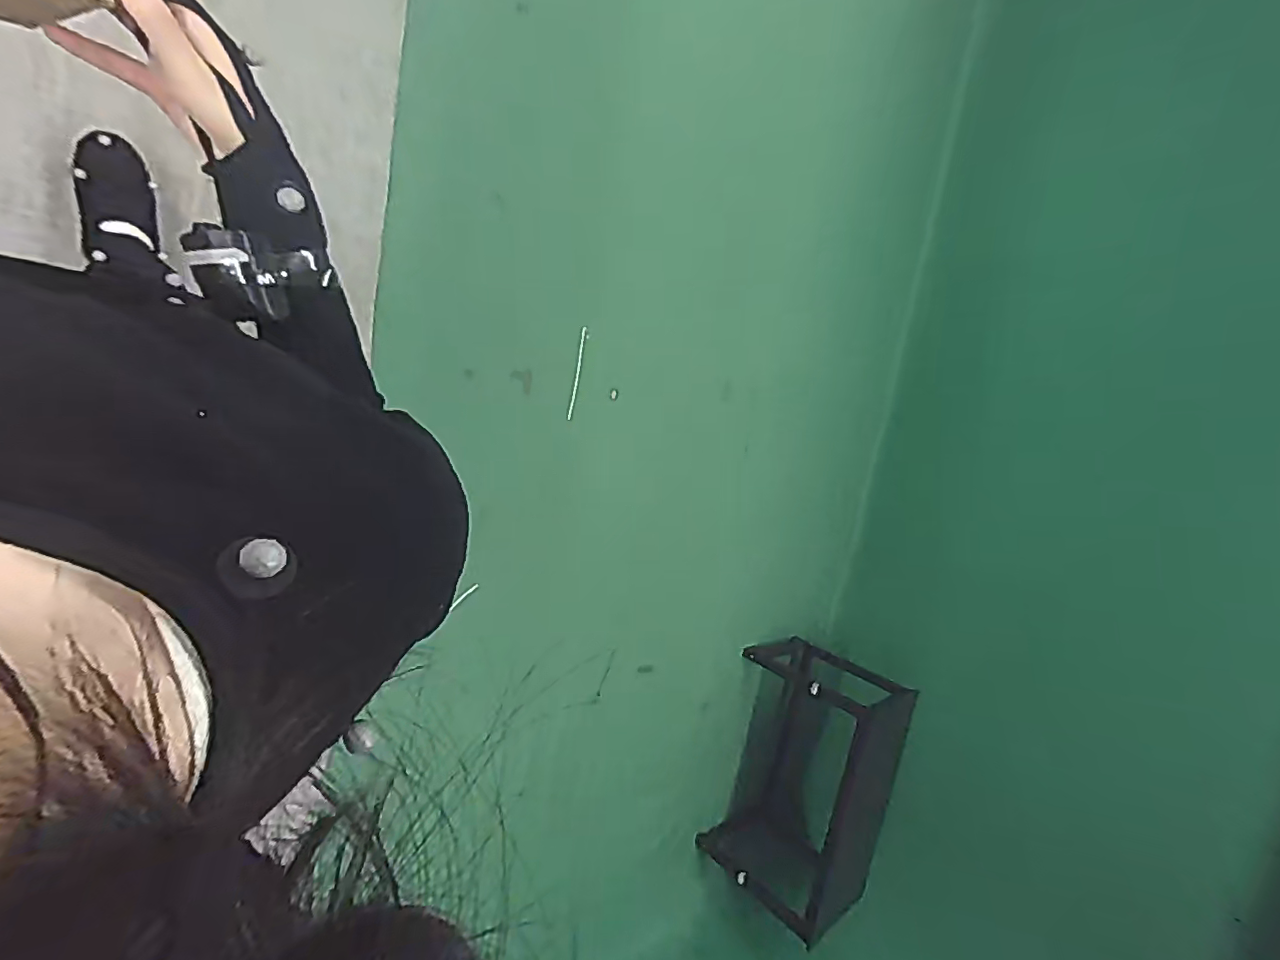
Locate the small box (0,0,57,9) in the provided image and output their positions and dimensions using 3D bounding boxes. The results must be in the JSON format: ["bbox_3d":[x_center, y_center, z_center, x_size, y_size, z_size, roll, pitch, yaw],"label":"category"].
[{"bbox_3d":[-0.367,-0.332,0.214,0.168,0.176,0.179,-25,130,-50],"label":"small box"}]
